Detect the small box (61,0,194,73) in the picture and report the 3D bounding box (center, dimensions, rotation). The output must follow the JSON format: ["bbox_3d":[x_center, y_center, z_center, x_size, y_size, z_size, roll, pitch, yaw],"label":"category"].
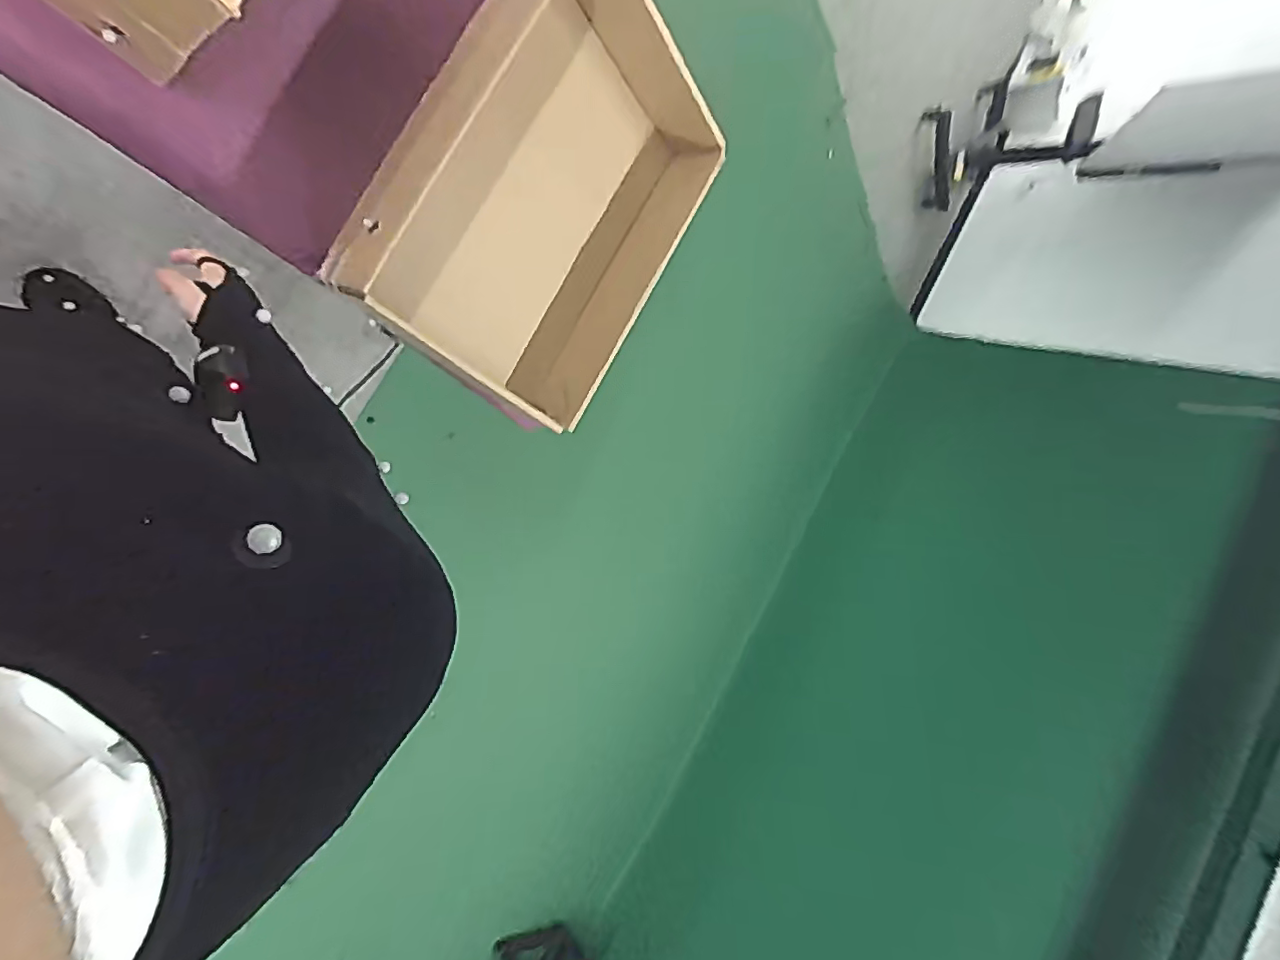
[{"bbox_3d":[-0.486,-0.527,0.502,0.168,0.176,0.179,36,80,-50],"label":"small box"}]

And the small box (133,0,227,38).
[{"bbox_3d":[-0.368,-0.480,0.399,0.168,0.176,0.179,35,82,-51],"label":"small box"}]
